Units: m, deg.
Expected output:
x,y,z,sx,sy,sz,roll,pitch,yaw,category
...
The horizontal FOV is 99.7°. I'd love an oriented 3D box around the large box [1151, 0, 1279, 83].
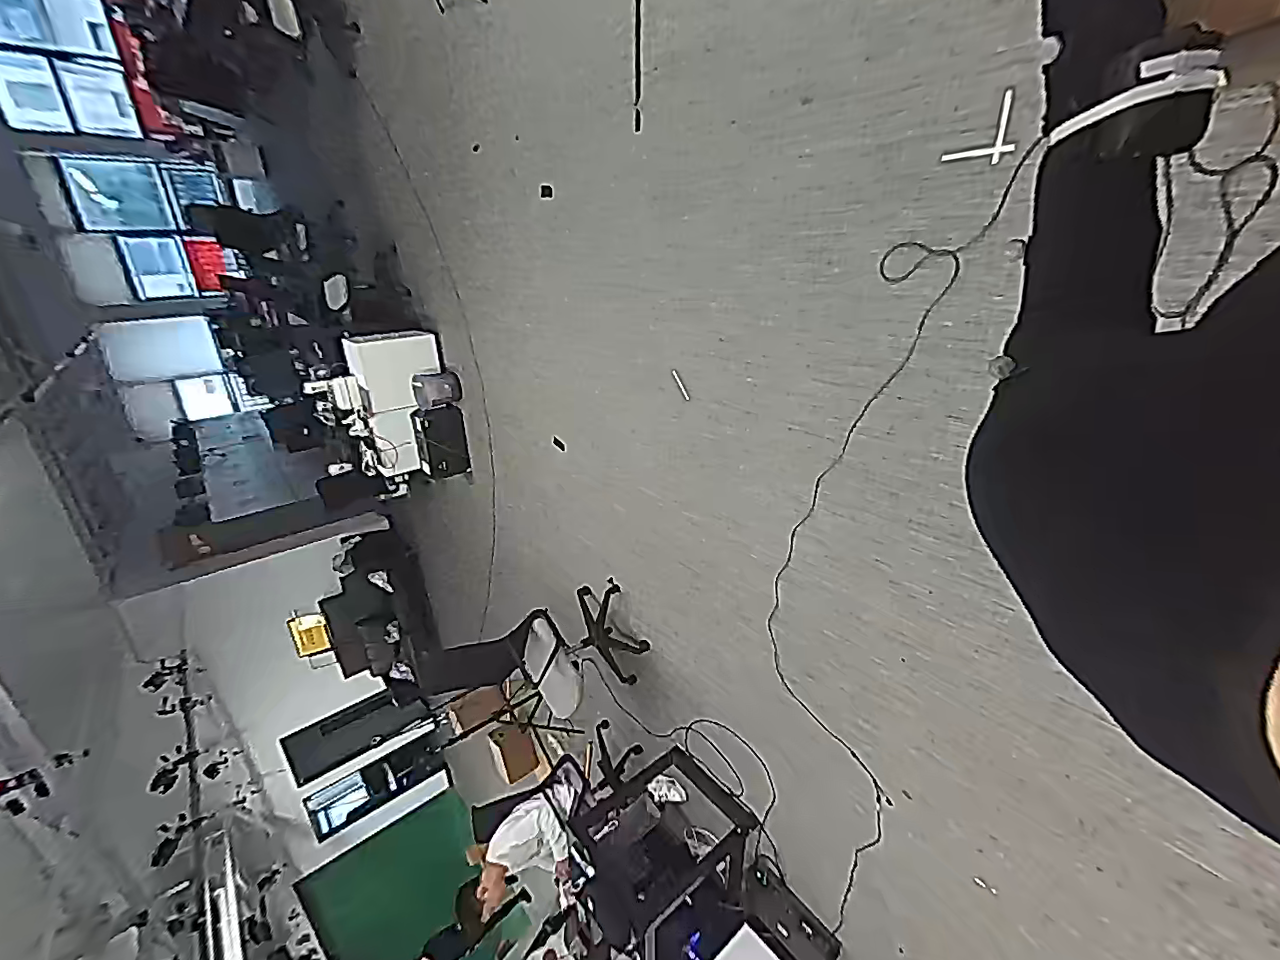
x,y,z,sx,sy,sz,roll,pitch,yaw,category
0.563,-0.475,0.271,0.408,0.320,0.320,10,118,51,large box
